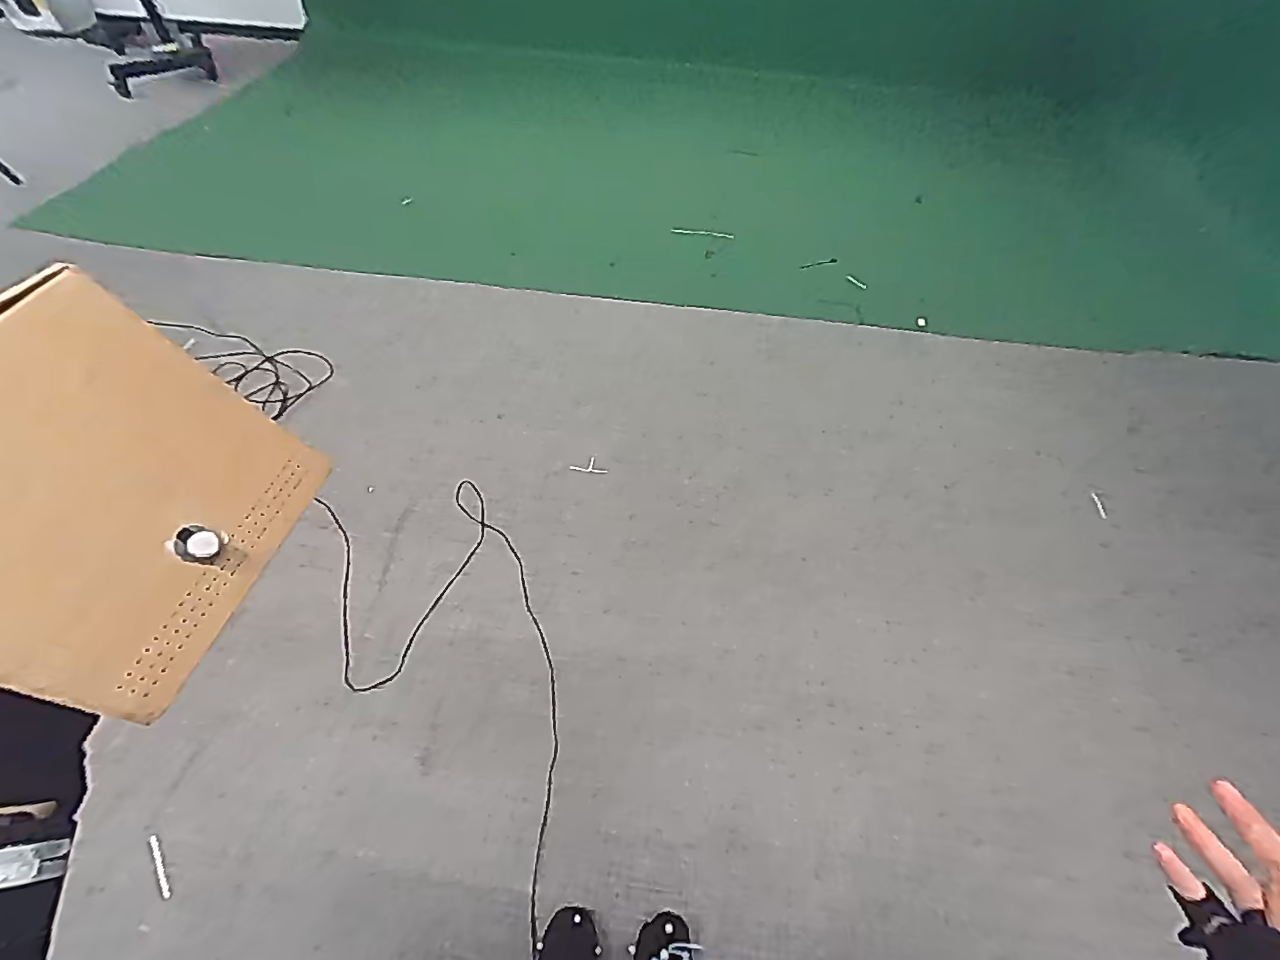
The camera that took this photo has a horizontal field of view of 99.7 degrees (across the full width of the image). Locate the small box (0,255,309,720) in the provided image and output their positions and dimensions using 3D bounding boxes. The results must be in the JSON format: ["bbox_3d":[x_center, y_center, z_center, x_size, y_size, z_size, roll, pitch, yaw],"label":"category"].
[{"bbox_3d":[-0.332,0.011,0.304,0.168,0.176,0.179,-4,52,26],"label":"small box"}]
